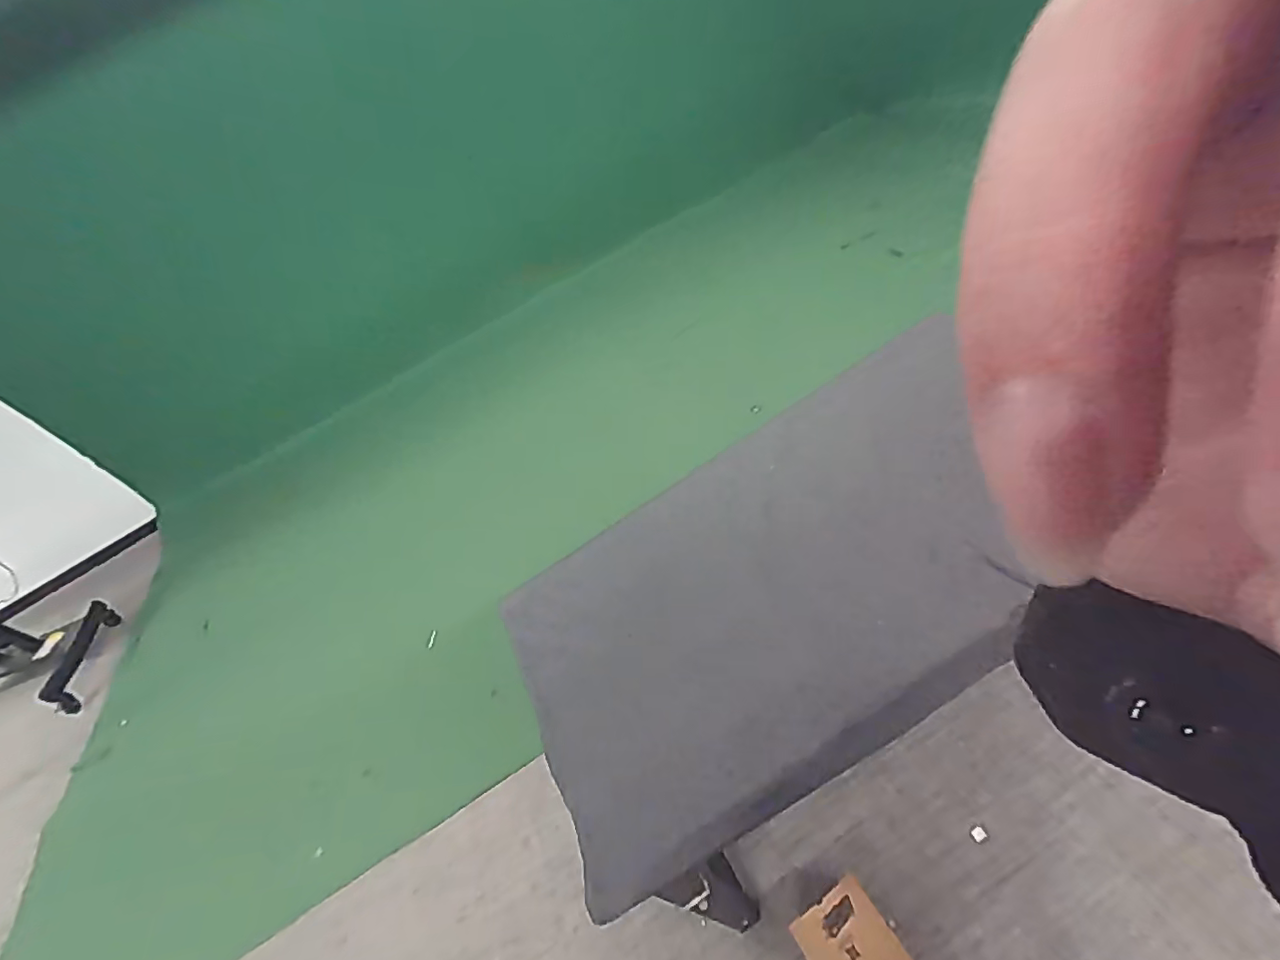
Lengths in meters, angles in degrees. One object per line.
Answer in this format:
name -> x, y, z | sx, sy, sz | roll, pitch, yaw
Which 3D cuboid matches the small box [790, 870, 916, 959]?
small box -> 0.430, 0.933, 1.081 | 0.168, 0.176, 0.179 | -35, 43, -6
